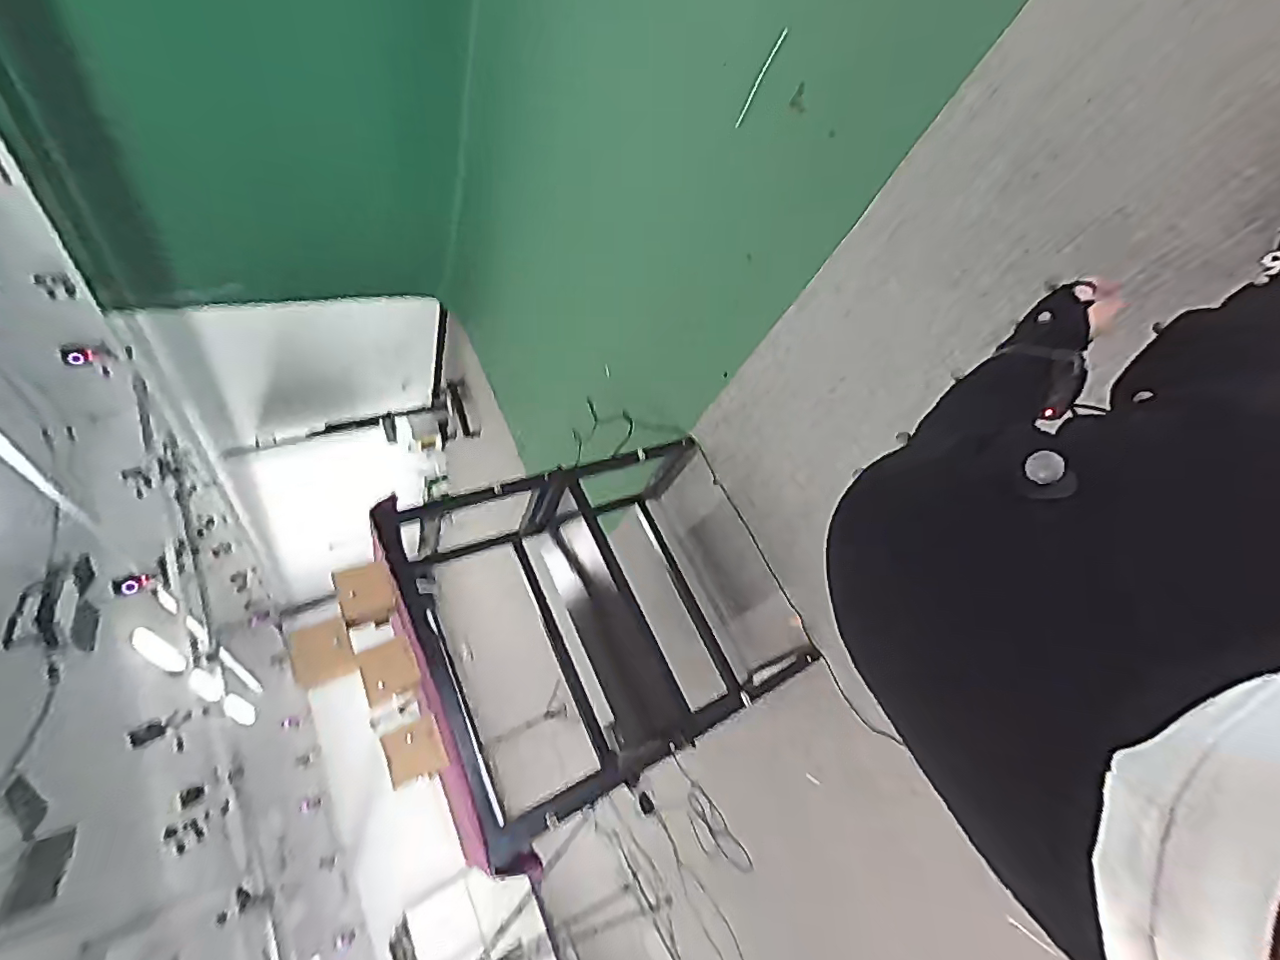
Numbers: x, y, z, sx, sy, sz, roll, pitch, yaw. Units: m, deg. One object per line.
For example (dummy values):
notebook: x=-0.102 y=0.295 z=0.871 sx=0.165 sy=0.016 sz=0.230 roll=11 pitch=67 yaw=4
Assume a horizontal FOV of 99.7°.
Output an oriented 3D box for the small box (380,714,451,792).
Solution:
small box: x=-0.708 y=0.861 z=1.710 sx=0.168 sy=0.176 sz=0.179 roll=63 pitch=148 yaw=18

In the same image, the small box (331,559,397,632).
small box: x=-0.958 y=0.402 z=1.889 sx=0.179 sy=0.176 sz=0.168 roll=62 pitch=147 yaw=18

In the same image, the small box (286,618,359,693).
small box: x=-1.025 y=0.566 z=1.758 sx=0.179 sy=0.176 sz=0.168 roll=63 pitch=148 yaw=17
